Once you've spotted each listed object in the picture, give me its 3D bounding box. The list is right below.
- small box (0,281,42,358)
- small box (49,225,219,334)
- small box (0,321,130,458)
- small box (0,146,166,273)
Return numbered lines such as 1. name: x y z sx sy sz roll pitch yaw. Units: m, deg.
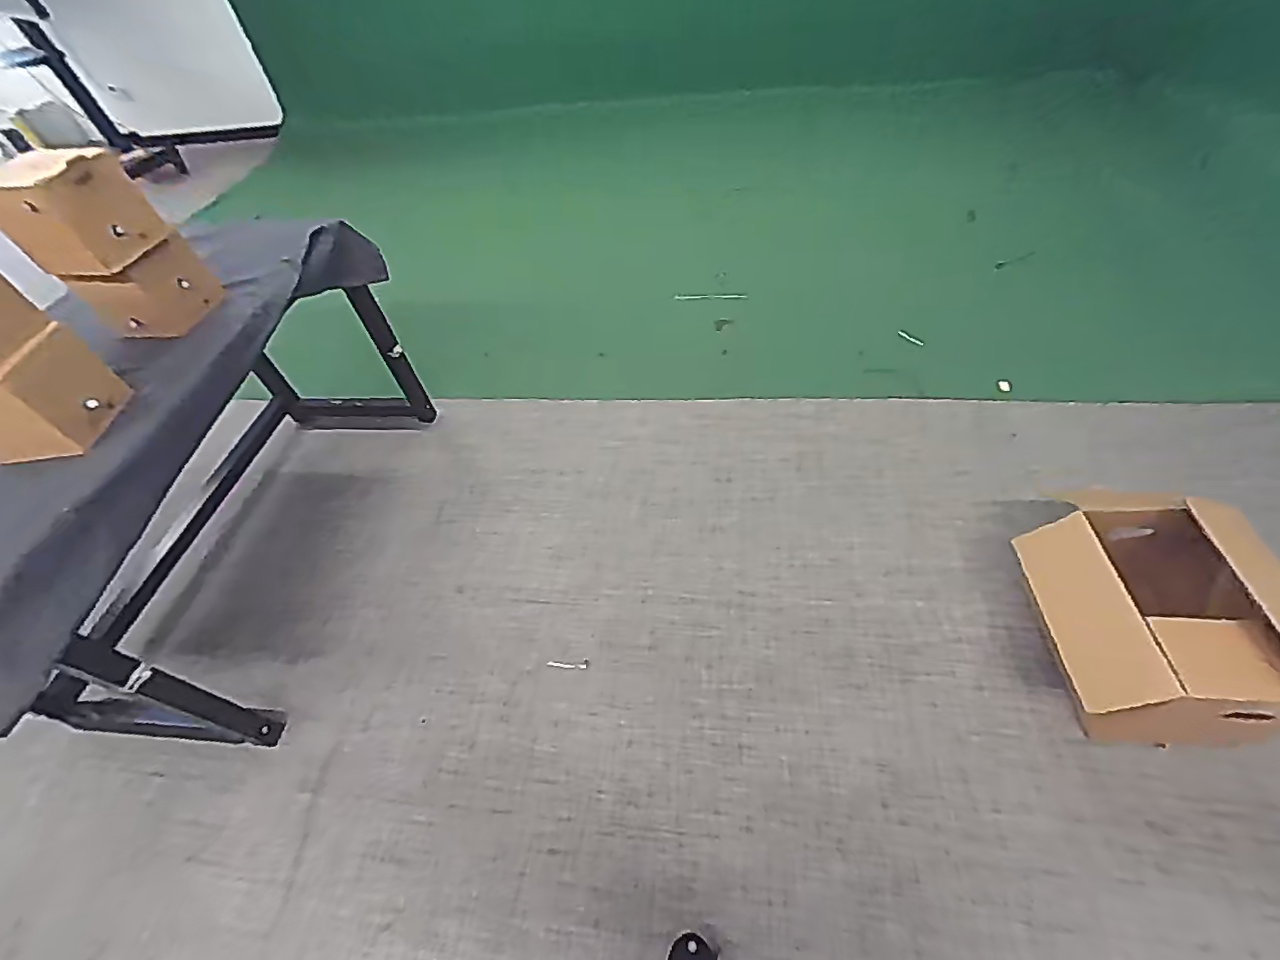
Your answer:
1. small box: -1.114 -0.259 0.831 0.168 0.176 0.179 -3 50 3
2. small box: -1.085 -0.433 1.180 0.179 0.176 0.168 2 52 8
3. small box: -1.084 -0.154 0.953 0.179 0.176 0.168 -6 51 1
4. small box: -1.091 -0.515 1.036 0.179 0.176 0.168 4 52 10
